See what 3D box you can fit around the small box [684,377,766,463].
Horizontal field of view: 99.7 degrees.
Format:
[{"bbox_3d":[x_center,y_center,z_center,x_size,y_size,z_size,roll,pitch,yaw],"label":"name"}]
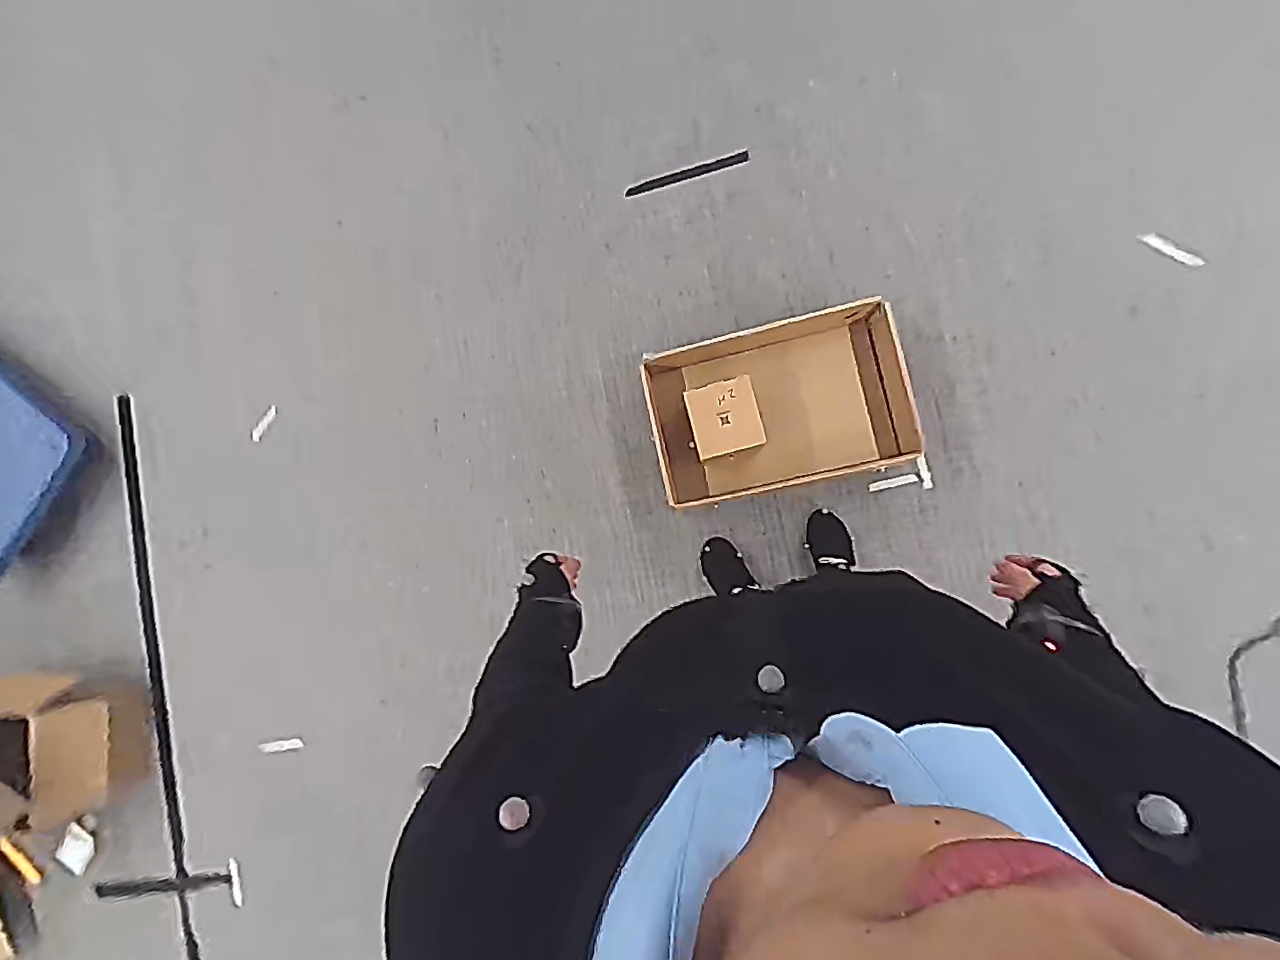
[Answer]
[{"bbox_3d":[0.217,-0.145,1.383,0.168,0.176,0.179,-15,85,7],"label":"small box"}]
